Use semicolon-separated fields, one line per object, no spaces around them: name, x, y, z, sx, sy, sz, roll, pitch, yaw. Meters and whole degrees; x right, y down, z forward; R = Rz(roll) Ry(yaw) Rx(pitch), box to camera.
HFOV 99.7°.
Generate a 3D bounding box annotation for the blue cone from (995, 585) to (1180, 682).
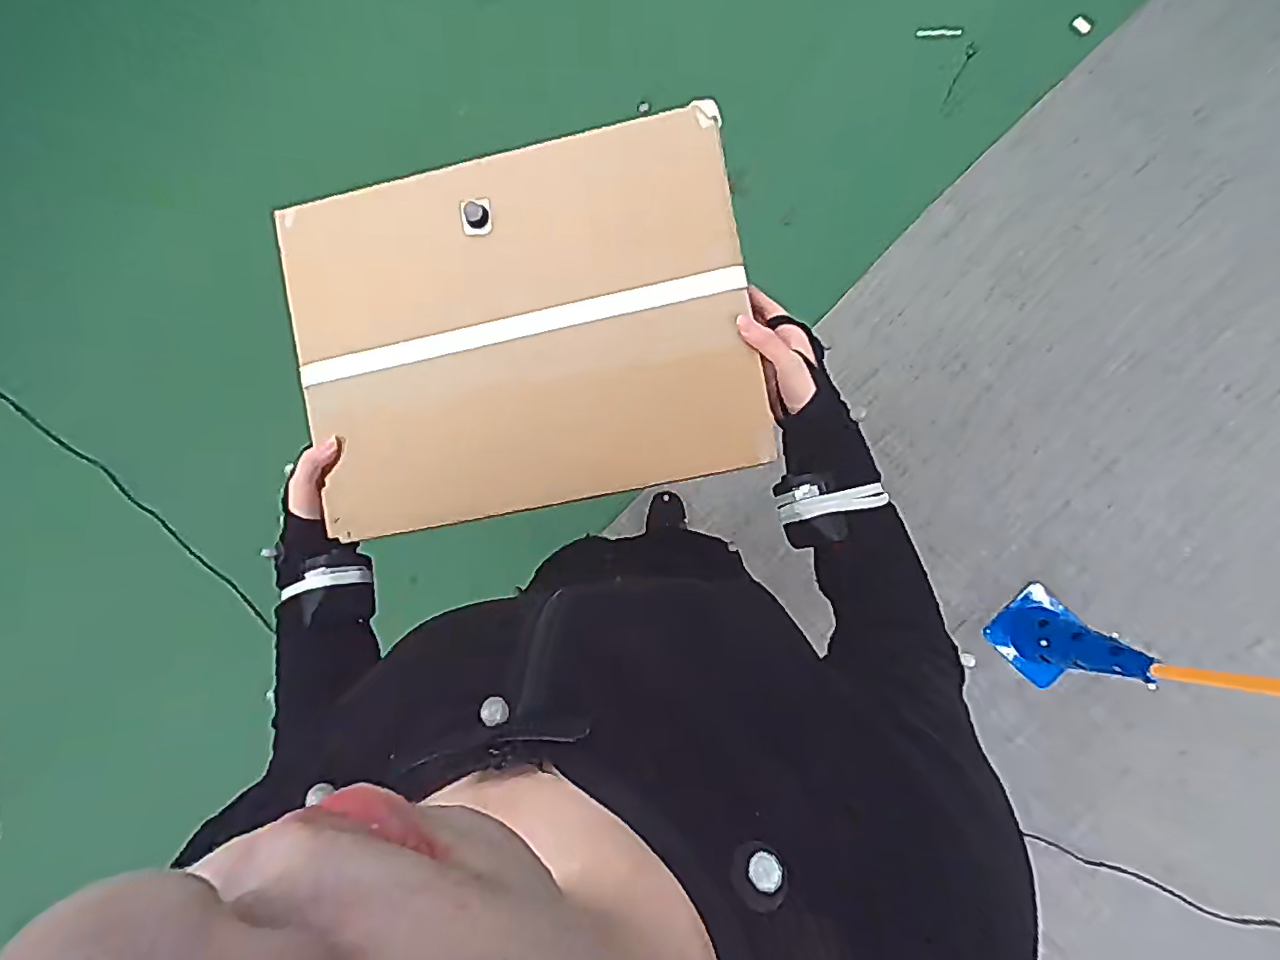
blue cone;1.001;0.367;1.199;0.192;0.380;0.193;43;89;7
